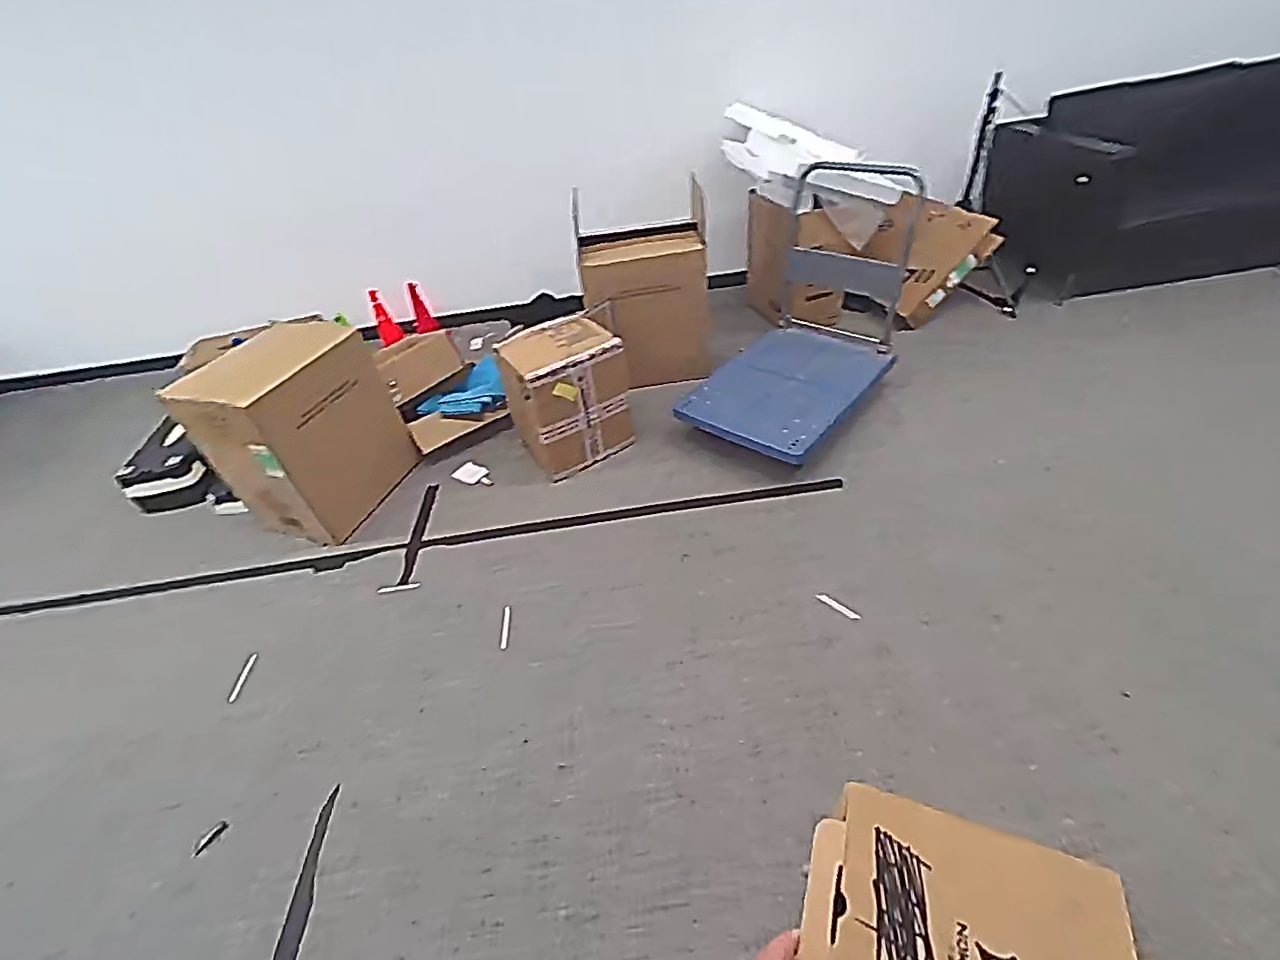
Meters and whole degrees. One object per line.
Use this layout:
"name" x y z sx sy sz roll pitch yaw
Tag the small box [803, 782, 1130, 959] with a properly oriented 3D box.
"small box" 0.214 0.360 0.388 0.179 0.176 0.168 12 44 19
